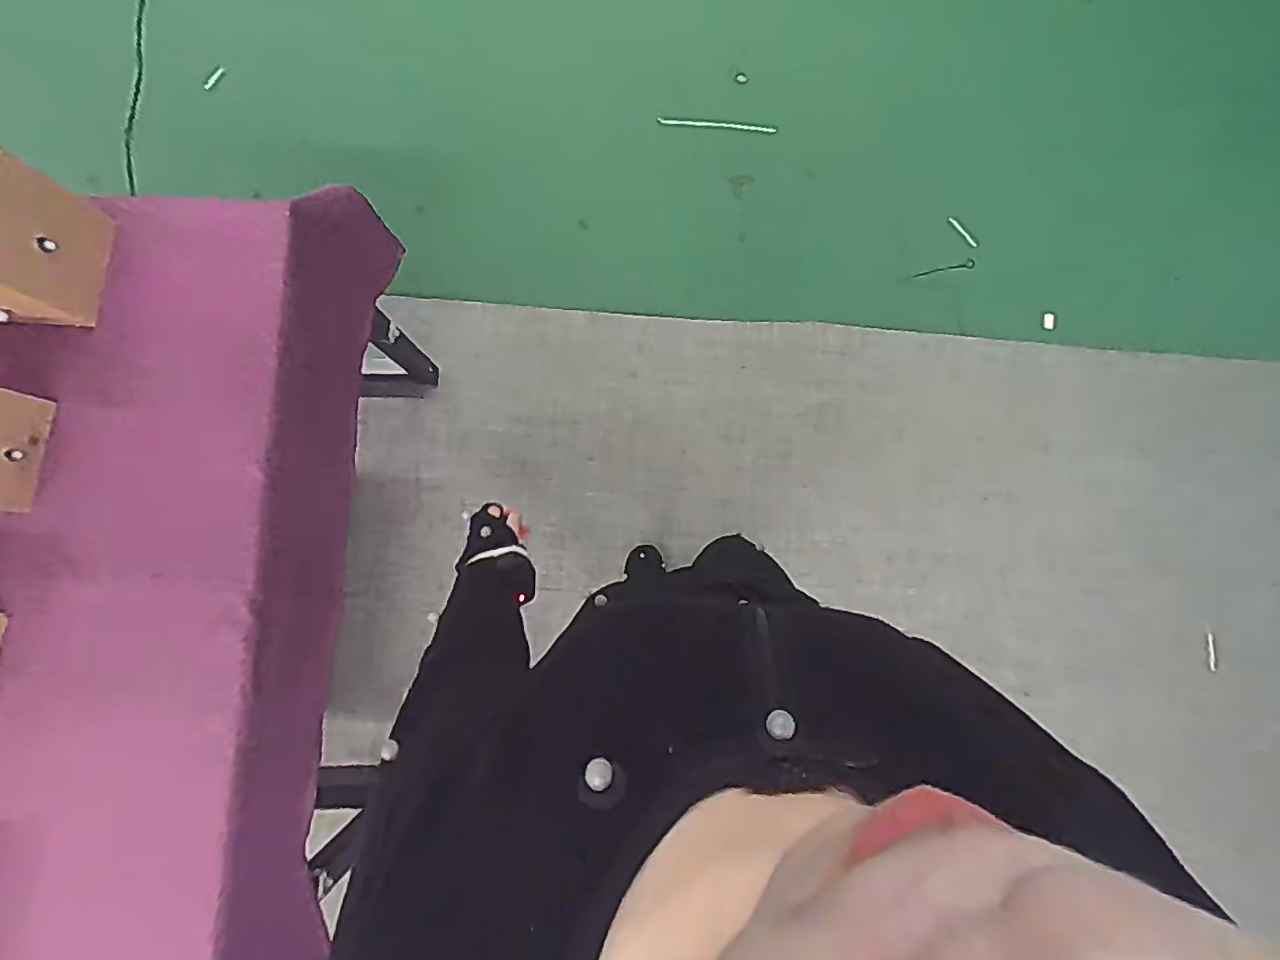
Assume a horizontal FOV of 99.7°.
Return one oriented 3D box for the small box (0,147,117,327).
[{"bbox_3d":[-0.898,-0.335,0.757,0.168,0.176,0.179,3,83,-1],"label":"small box"}]
